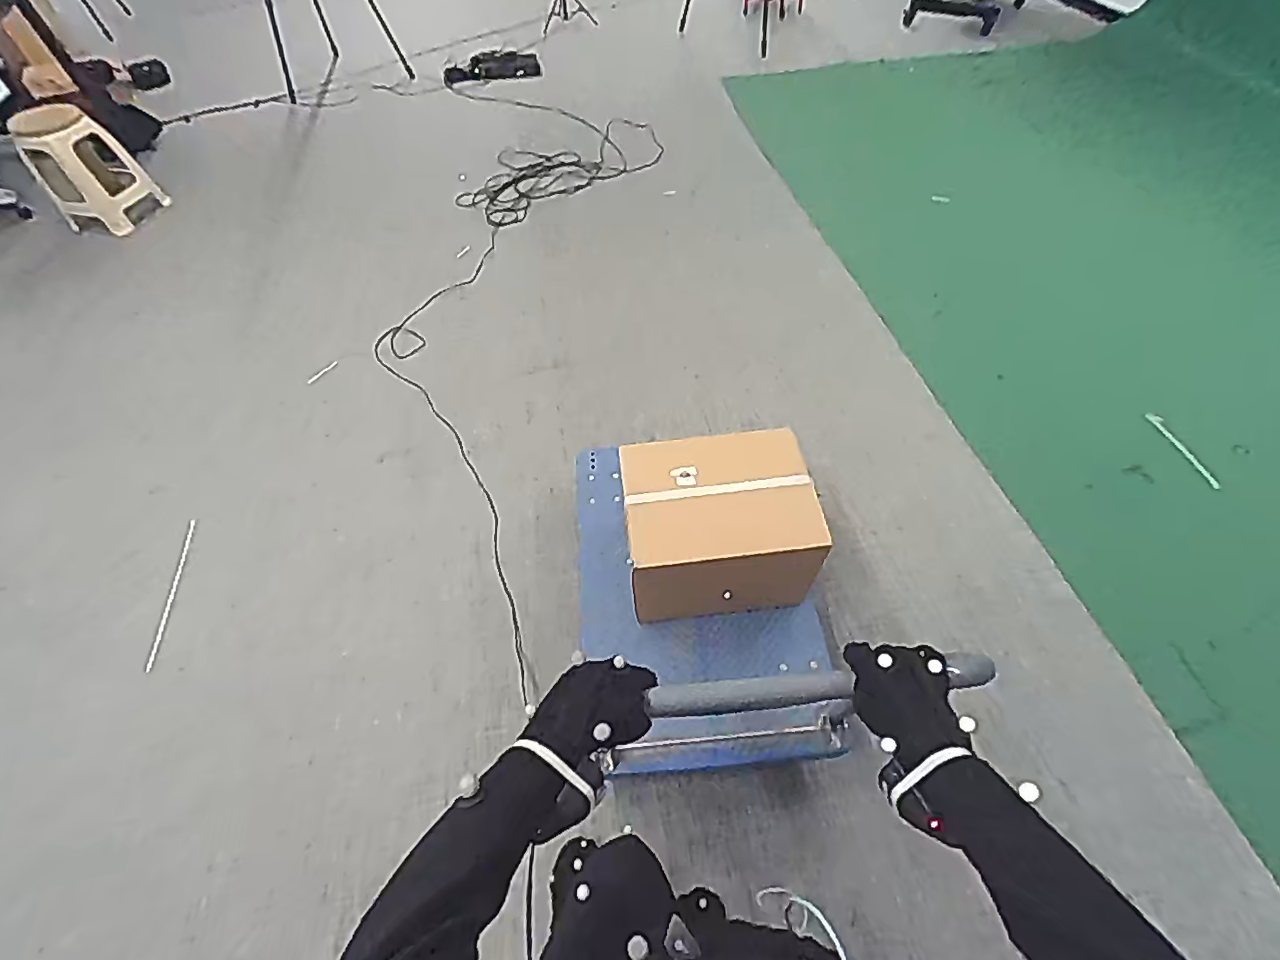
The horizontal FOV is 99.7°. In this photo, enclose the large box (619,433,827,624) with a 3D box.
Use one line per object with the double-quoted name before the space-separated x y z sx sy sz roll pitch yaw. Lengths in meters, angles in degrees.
"large box" 0.175 0.125 1.290 0.408 0.320 0.320 -7 54 -1
